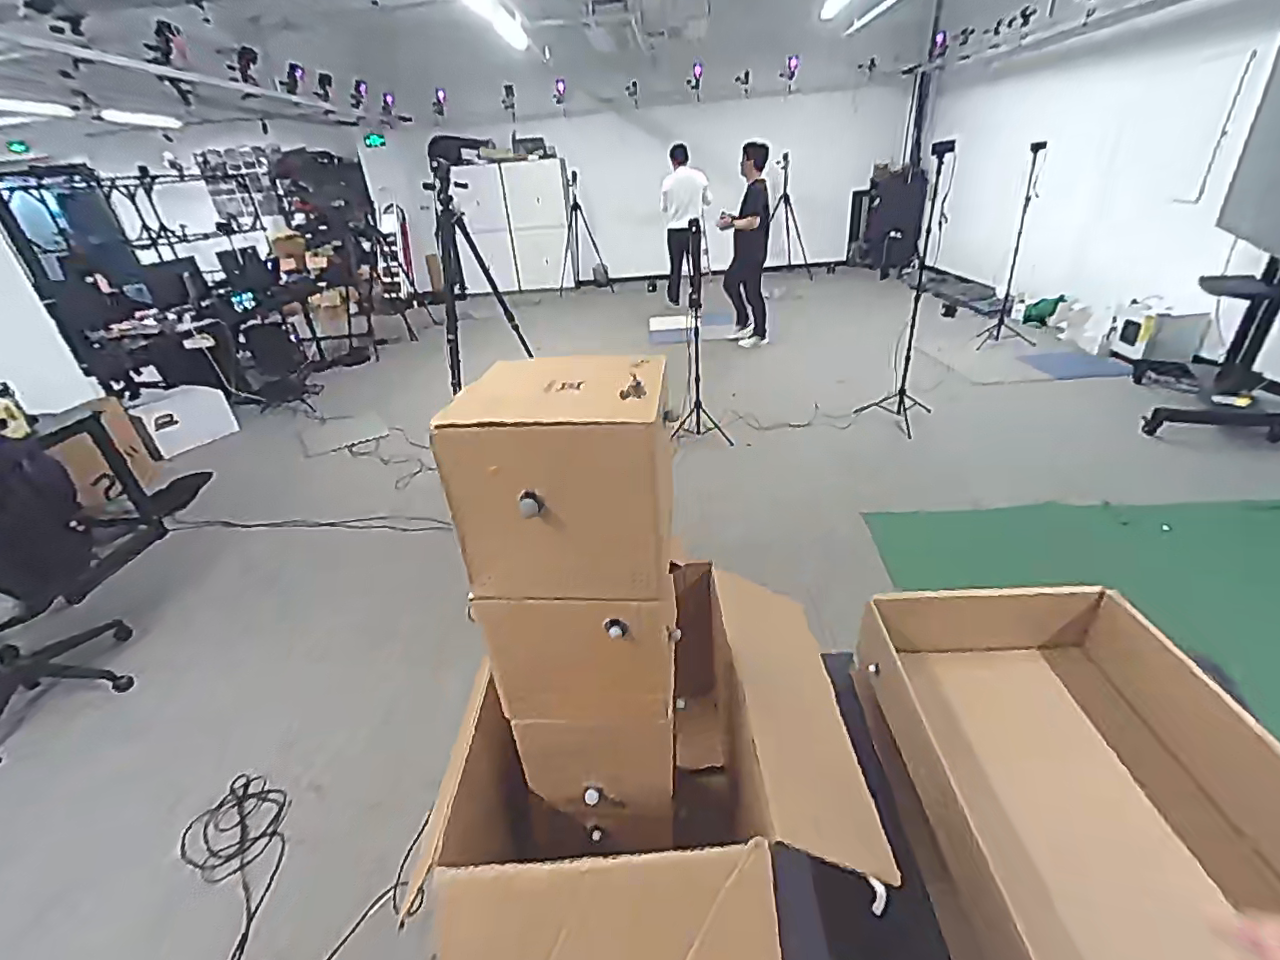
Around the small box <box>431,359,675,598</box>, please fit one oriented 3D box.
[{"bbox_3d":[-0.061,-0.005,0.508,0.179,0.176,0.168,-1,30,6],"label":"small box"}]

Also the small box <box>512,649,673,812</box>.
[{"bbox_3d":[-0.045,0.275,0.673,0.168,0.176,0.179,-1,32,5],"label":"small box"}]

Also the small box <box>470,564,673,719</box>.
[{"bbox_3d":[-0.058,0.137,0.590,0.179,0.176,0.168,0,30,6],"label":"small box"}]
